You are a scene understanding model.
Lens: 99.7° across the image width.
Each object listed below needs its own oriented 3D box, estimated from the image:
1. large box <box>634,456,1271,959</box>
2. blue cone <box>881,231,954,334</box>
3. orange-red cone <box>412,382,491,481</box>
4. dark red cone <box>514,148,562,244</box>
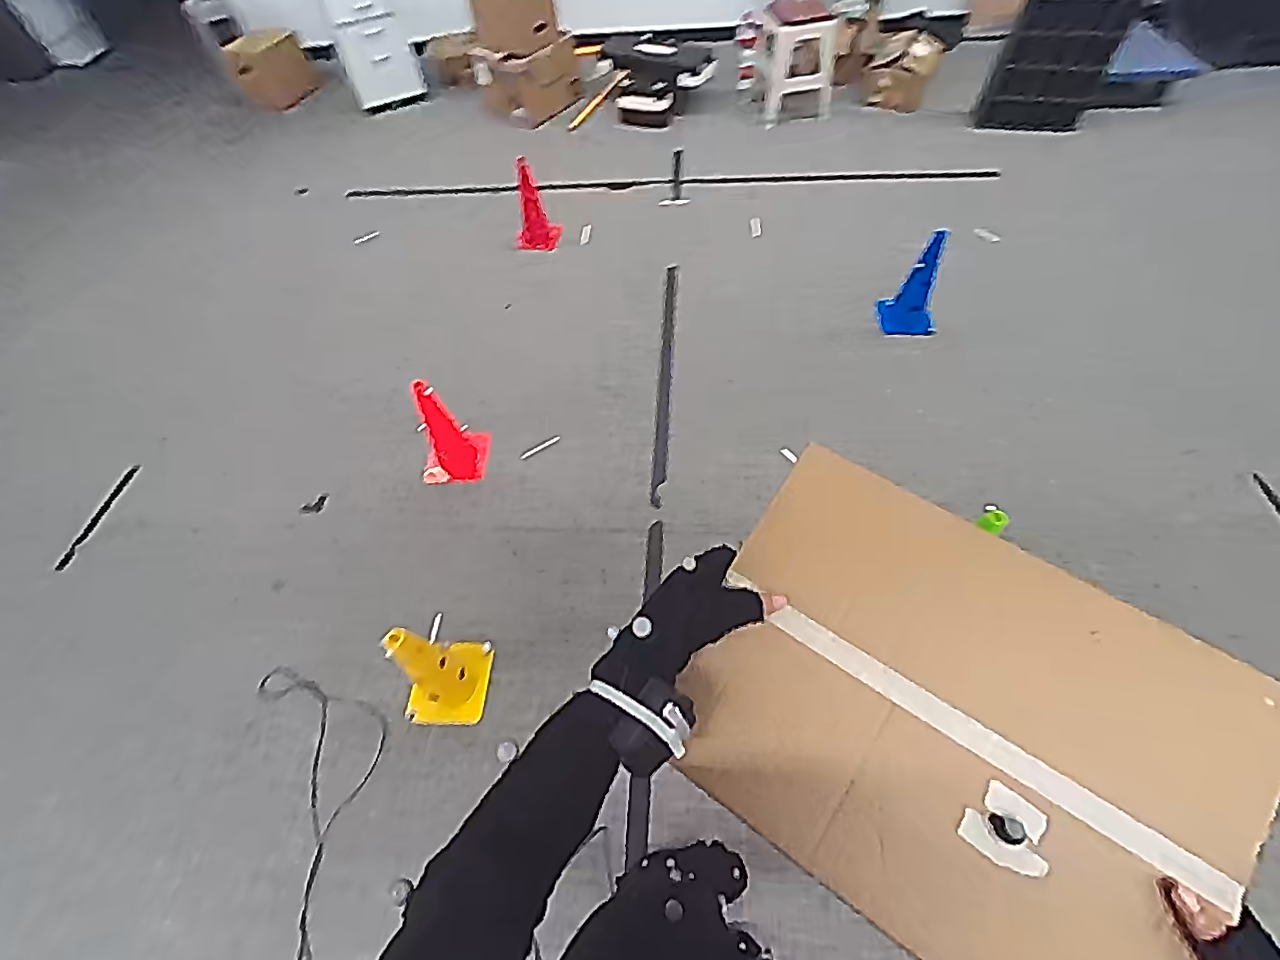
[{"bbox_3d":[0.257,0.238,0.577,0.408,0.320,0.320,30,78,18],"label":"large box"},{"bbox_3d":[1.047,-0.734,1.994,0.192,0.380,0.193,4,57,5],"label":"blue cone"},{"bbox_3d":[-0.628,-0.172,1.708,0.198,0.360,0.199,-2,57,4],"label":"orange-red cone"},{"bbox_3d":[-0.484,-1.260,2.406,0.201,0.394,0.202,6,57,7],"label":"dark red cone"}]
